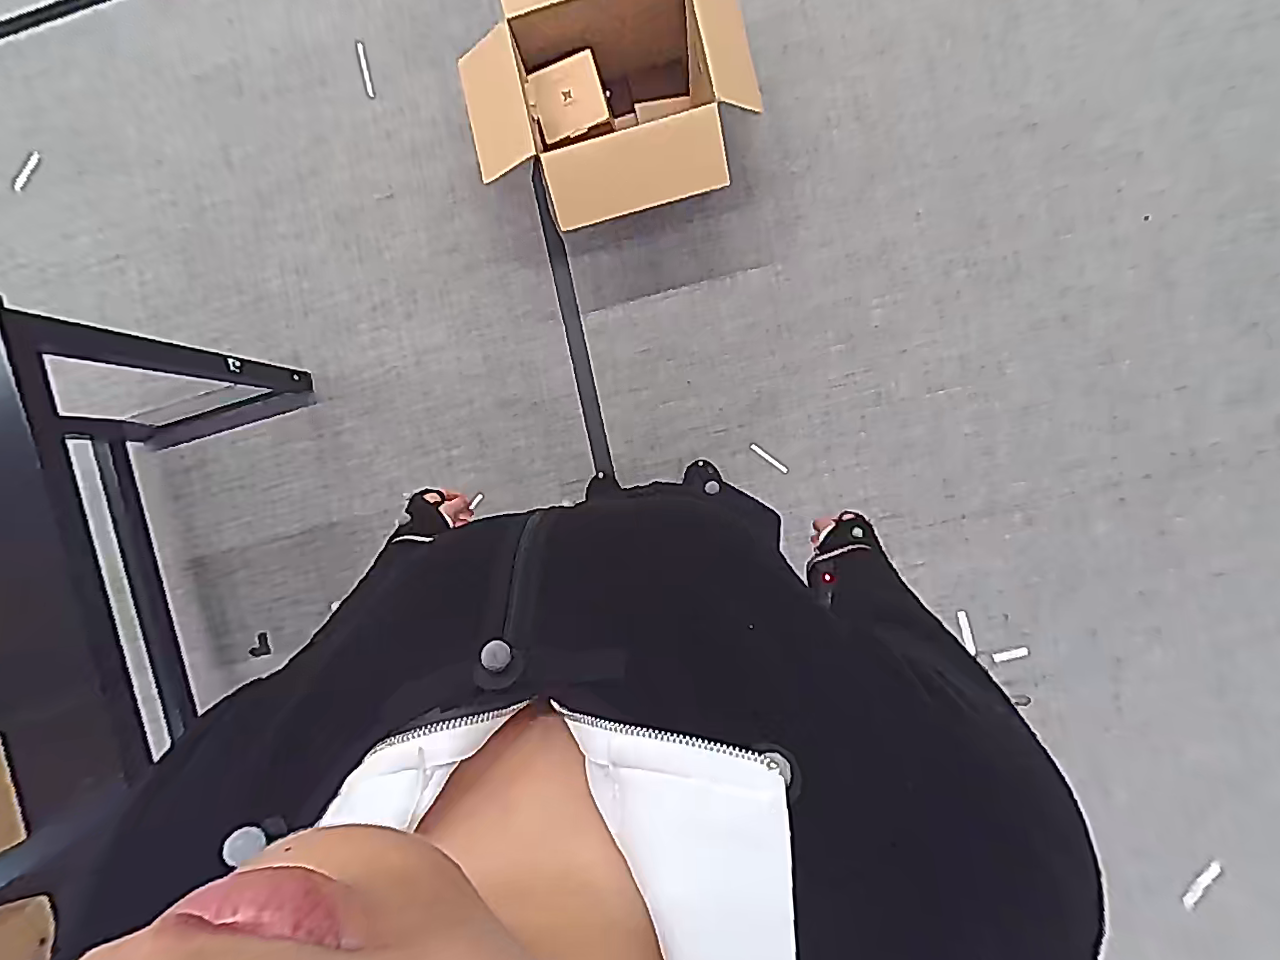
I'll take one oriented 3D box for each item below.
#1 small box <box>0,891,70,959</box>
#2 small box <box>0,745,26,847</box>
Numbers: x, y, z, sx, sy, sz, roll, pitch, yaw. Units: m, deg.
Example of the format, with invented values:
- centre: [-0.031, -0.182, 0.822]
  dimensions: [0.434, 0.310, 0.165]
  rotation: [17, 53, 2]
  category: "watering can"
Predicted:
- centre: [-1.023, 0.763, 0.803]
  dimensions: [0.179, 0.176, 0.168]
  rotation: [-16, 91, 4]
  category: "small box"
- centre: [-1.089, 0.505, 0.796]
  dimensions: [0.168, 0.176, 0.179]
  rotation: [-14, 91, 6]
  category: "small box"
